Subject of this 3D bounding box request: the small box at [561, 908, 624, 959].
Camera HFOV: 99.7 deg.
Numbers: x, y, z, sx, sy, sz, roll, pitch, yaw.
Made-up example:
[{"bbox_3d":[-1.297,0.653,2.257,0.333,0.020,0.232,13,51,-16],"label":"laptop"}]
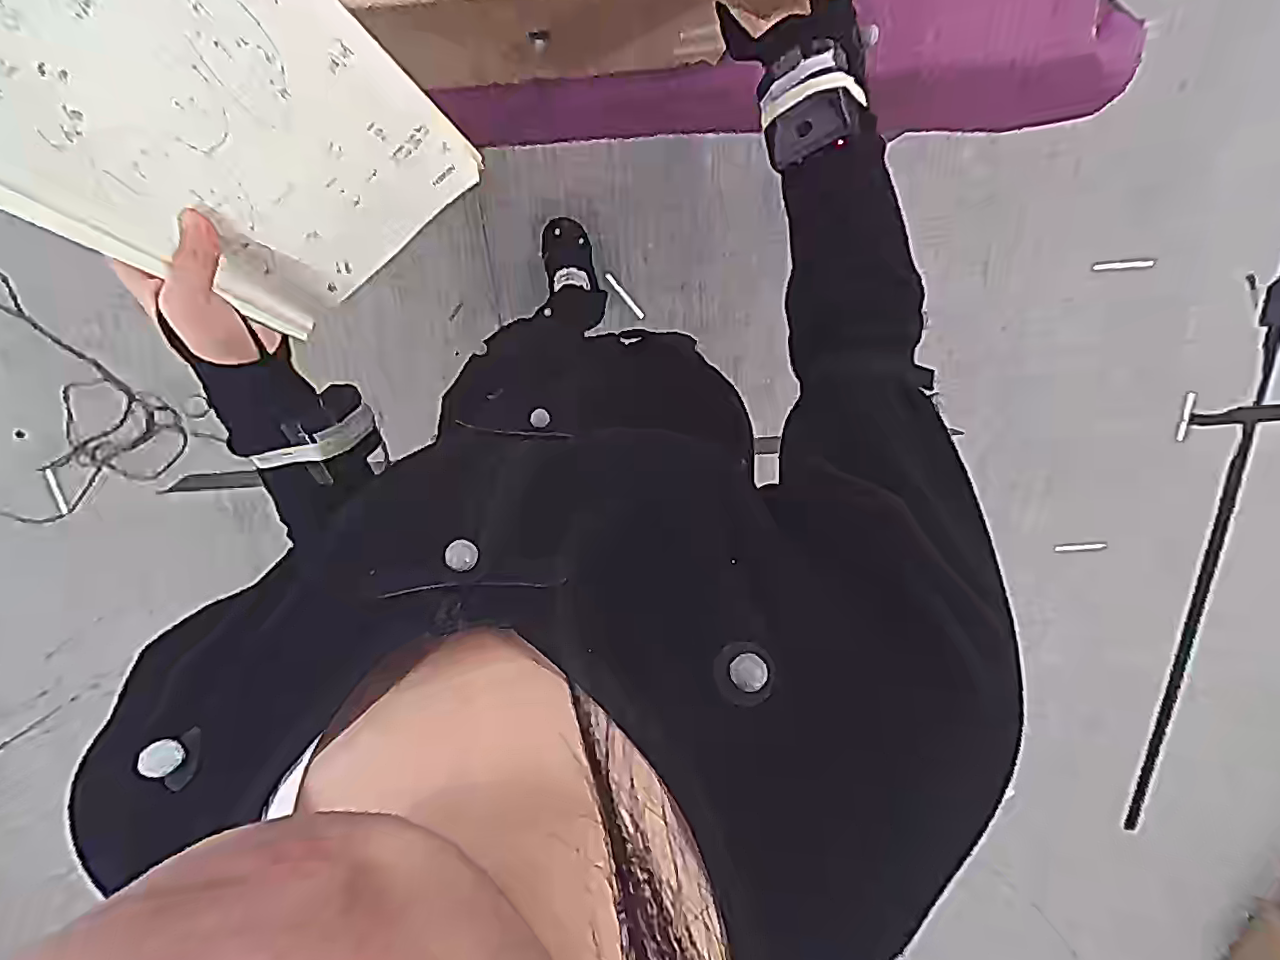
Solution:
[{"bbox_3d":[-0.137,1.391,1.580,0.168,0.176,0.179,-7,110,1],"label":"small box"}]
